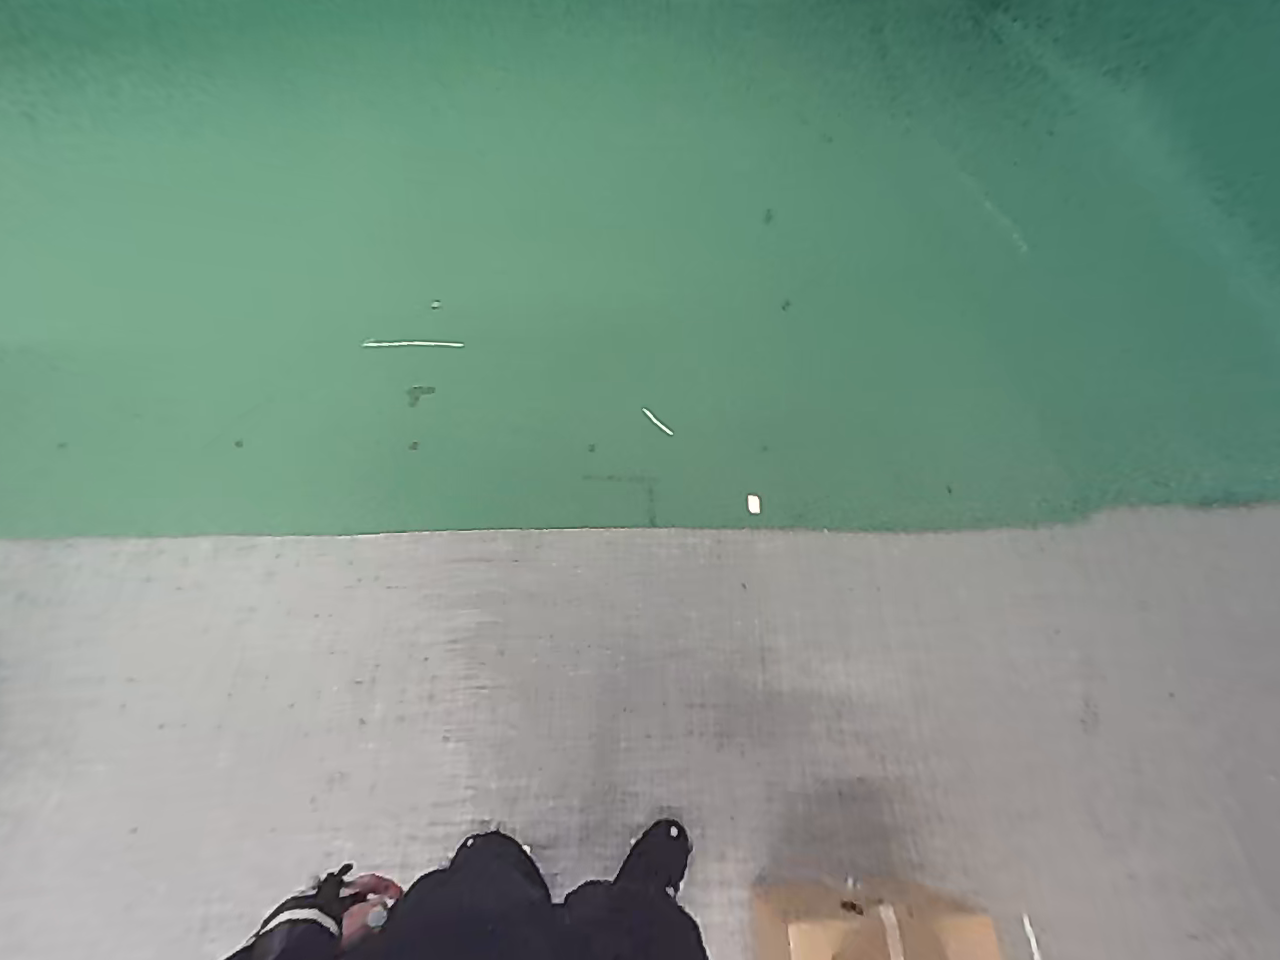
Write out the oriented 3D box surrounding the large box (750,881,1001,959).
[{"bbox_3d":[0.375,0.903,0.839,0.320,0.320,0.408,-2,62,-1],"label":"large box"}]
